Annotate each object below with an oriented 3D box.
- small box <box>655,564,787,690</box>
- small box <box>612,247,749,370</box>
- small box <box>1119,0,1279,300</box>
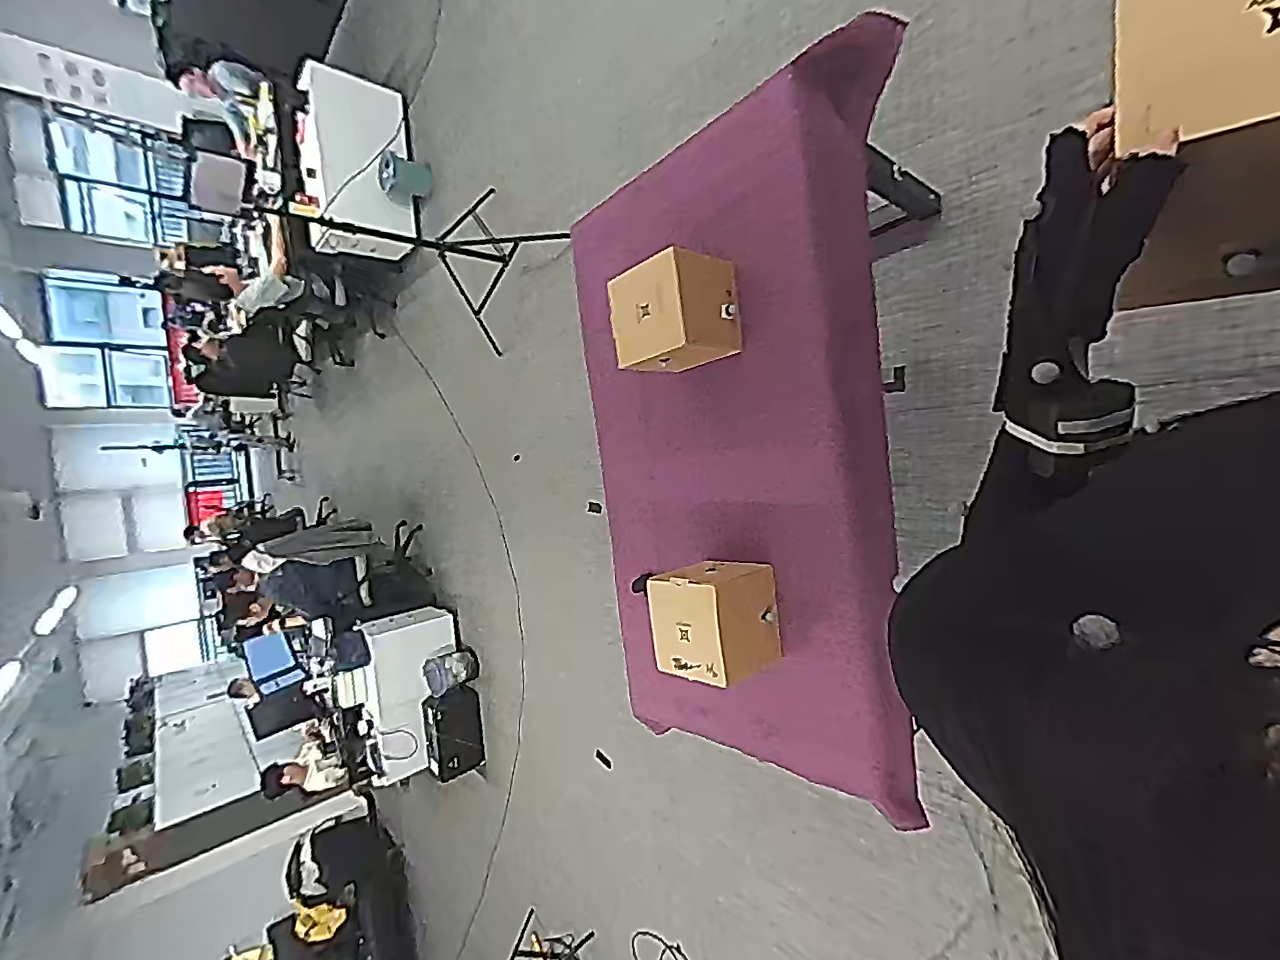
[{"bbox_3d":[0.150,0.255,0.989,0.168,0.176,0.179,-6,90,49],"label":"small box"},{"bbox_3d":[0.075,-0.302,0.998,0.179,0.176,0.168,-8,91,48],"label":"small box"},{"bbox_3d":[0.446,-0.258,0.374,0.168,0.176,0.179,2,68,40],"label":"small box"}]
